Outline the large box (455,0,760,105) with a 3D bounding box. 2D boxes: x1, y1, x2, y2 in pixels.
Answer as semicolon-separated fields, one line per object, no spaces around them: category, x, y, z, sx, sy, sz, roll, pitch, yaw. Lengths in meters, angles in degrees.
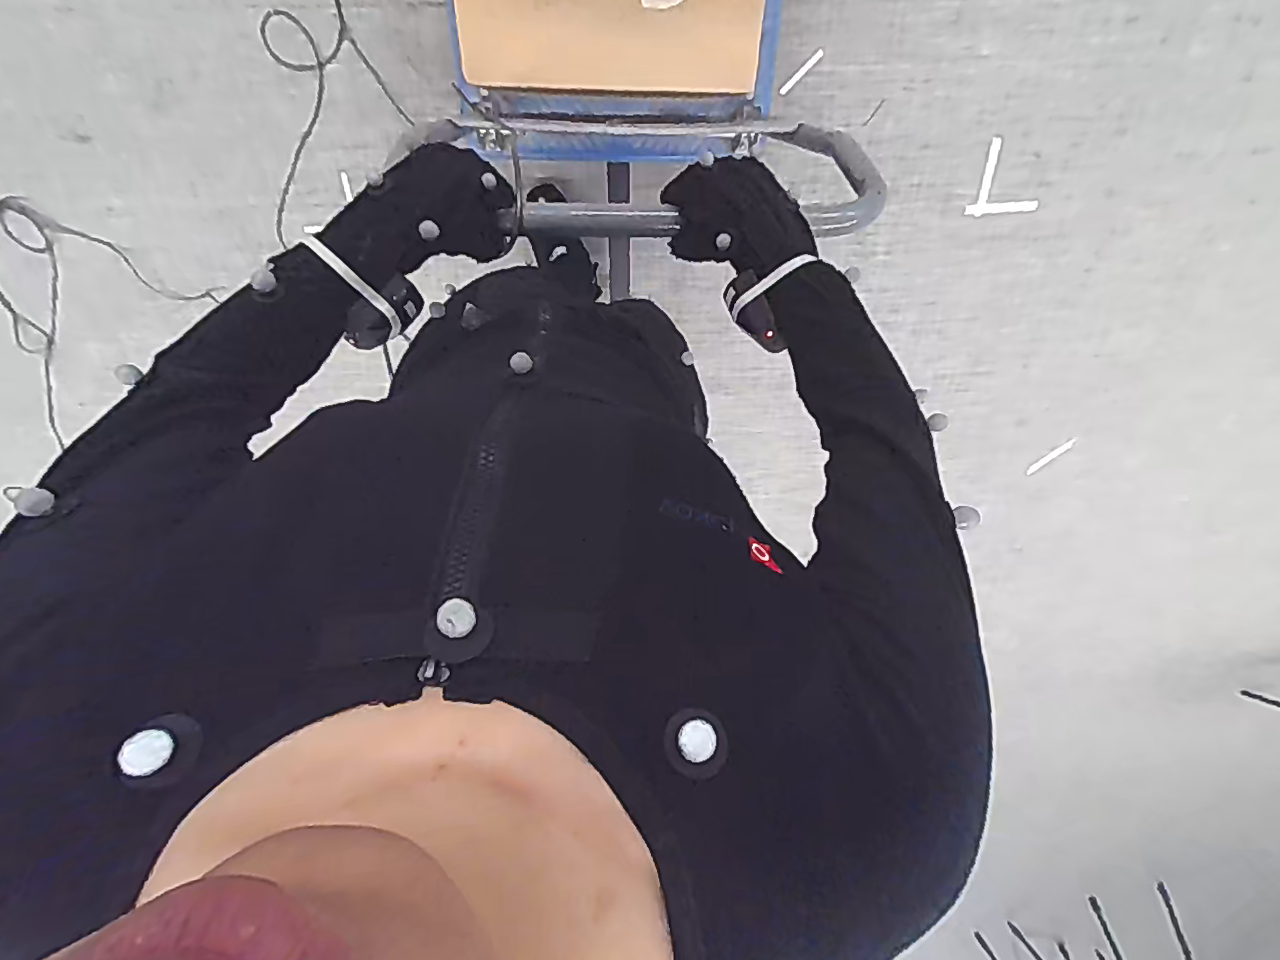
large box;-0.051;-0.745;0.792;0.408;0.320;0.320;-2;124;-4
